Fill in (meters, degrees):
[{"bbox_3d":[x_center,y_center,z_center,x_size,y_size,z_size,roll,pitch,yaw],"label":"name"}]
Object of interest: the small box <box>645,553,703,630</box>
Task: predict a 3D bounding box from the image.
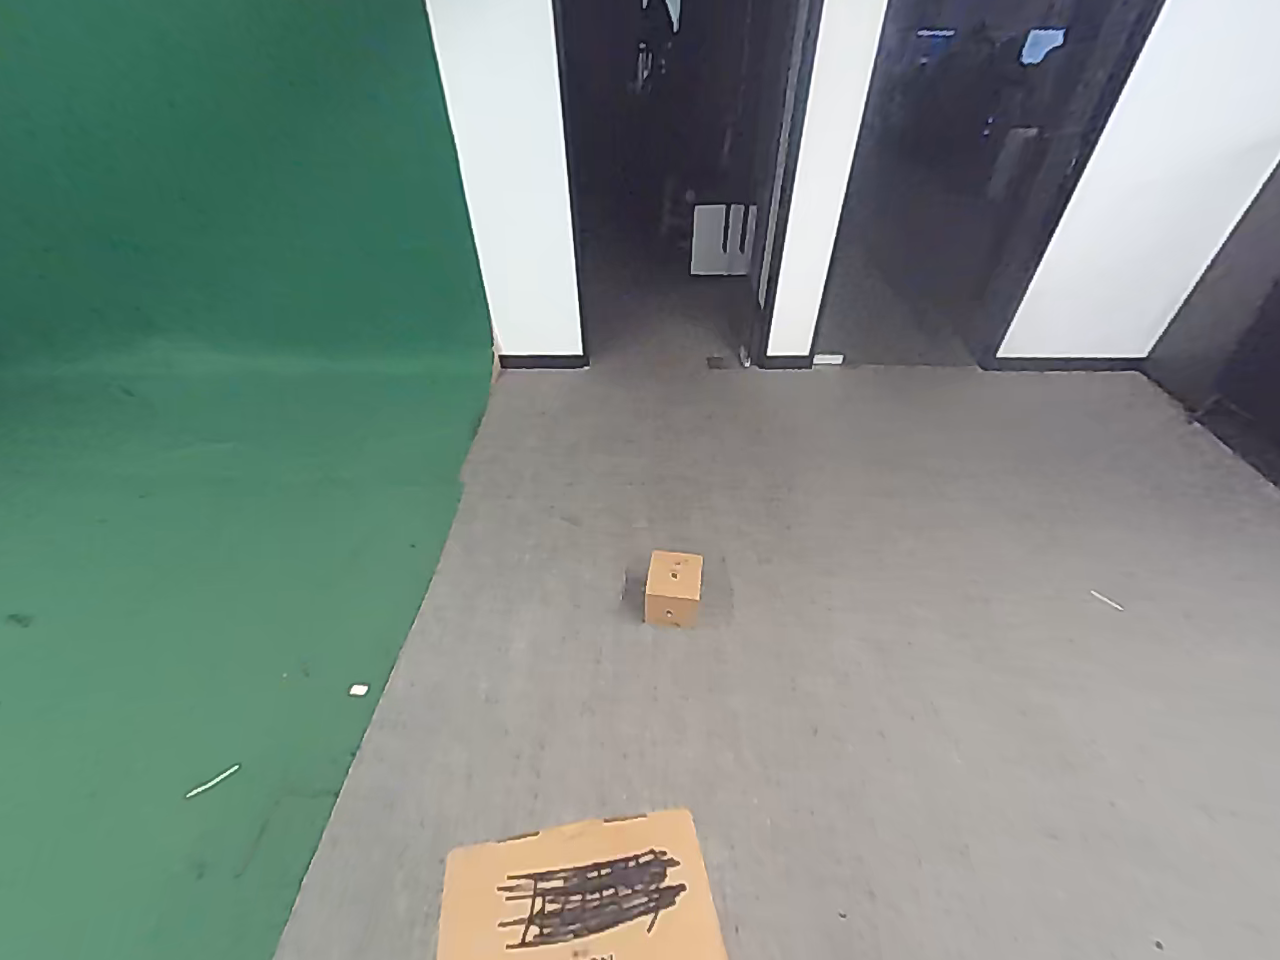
[{"bbox_3d":[0.112,0.360,1.734,0.168,0.176,0.179,6,42,7],"label":"small box"}]
